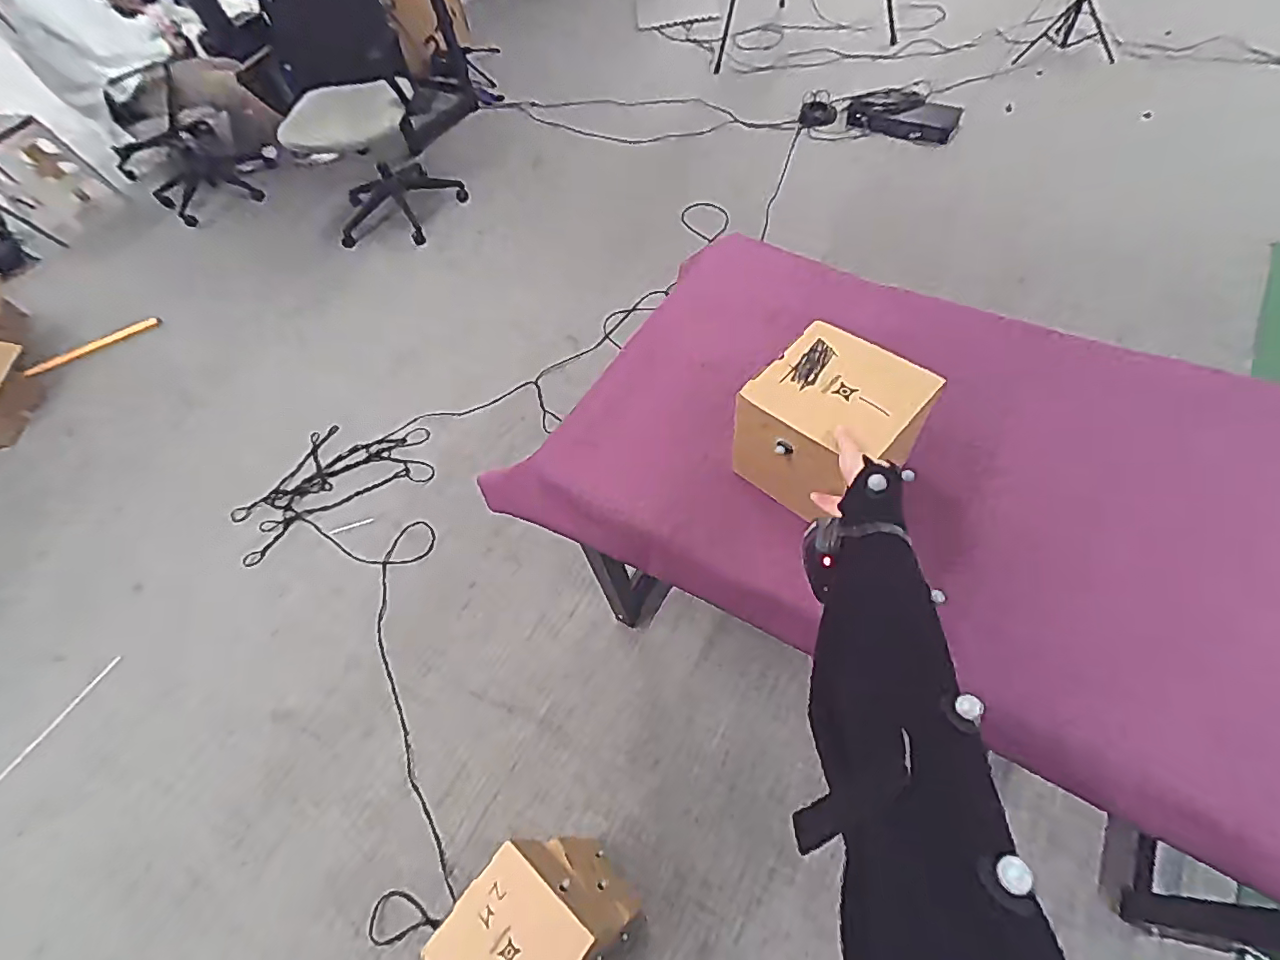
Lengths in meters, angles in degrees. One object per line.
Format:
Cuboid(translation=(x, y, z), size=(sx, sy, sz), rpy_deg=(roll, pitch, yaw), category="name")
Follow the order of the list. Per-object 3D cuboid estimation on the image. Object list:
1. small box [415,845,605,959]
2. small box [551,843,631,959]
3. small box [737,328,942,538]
Cuboid(translation=(-0.171, 0.655, 0.766), size=(0.179, 0.176, 0.168), rpy_deg=(32, 65, 26), category="small box")
Cuboid(translation=(-0.132, 0.834, 1.036), size=(0.179, 0.176, 0.168), rpy_deg=(-40, 60, -17), category="small box")
Cuboid(translation=(0.240, -0.056, 0.700), size=(0.179, 0.176, 0.168), rpy_deg=(38, 69, 27), category="small box")
